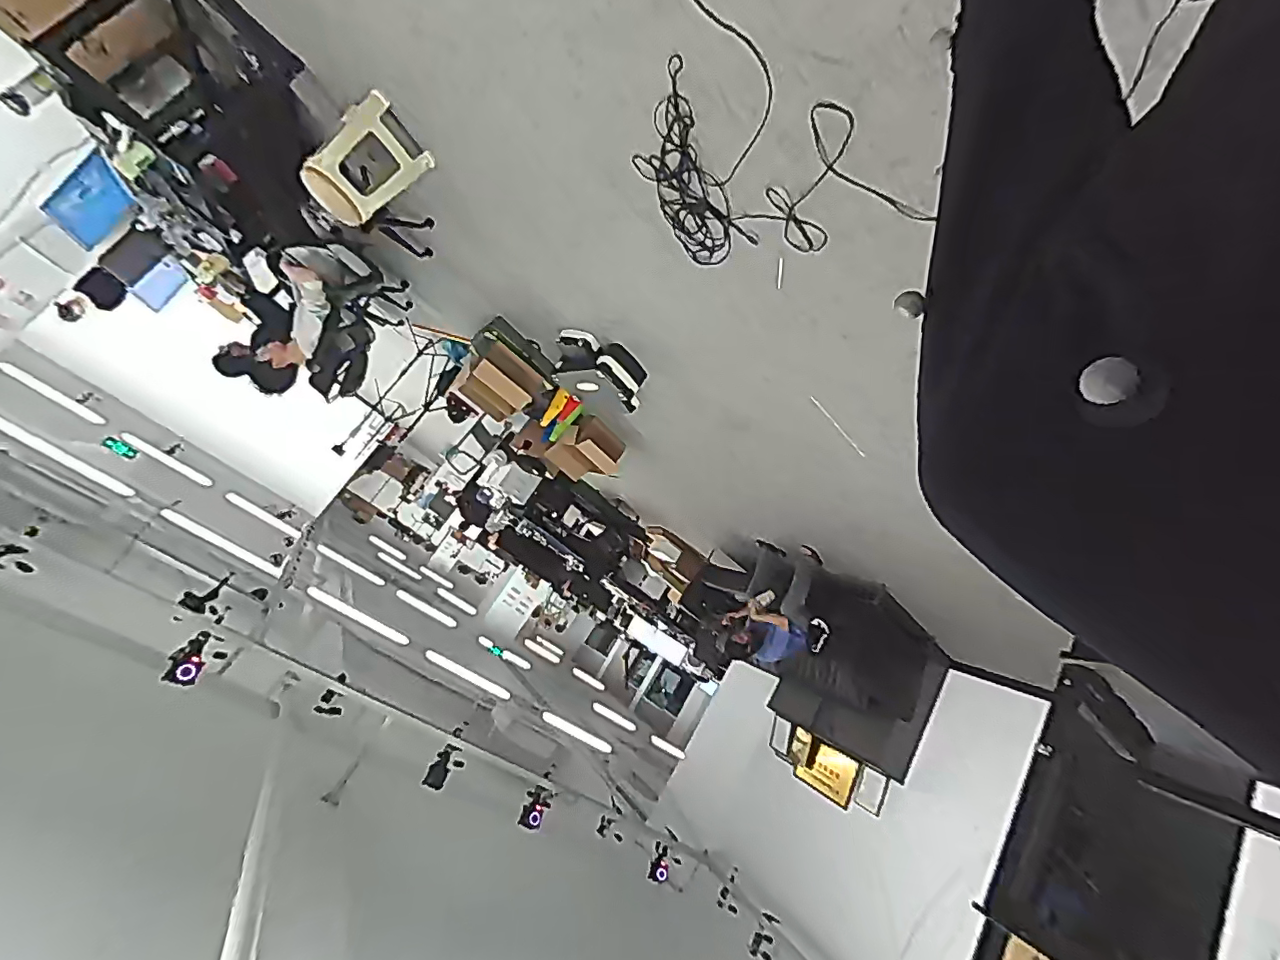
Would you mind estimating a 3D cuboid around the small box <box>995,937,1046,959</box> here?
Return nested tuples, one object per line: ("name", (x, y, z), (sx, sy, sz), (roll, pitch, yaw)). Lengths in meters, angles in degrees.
("small box", (0.982, 1.275, 1.329), (0.179, 0.176, 0.168), (41, 162, -27))
